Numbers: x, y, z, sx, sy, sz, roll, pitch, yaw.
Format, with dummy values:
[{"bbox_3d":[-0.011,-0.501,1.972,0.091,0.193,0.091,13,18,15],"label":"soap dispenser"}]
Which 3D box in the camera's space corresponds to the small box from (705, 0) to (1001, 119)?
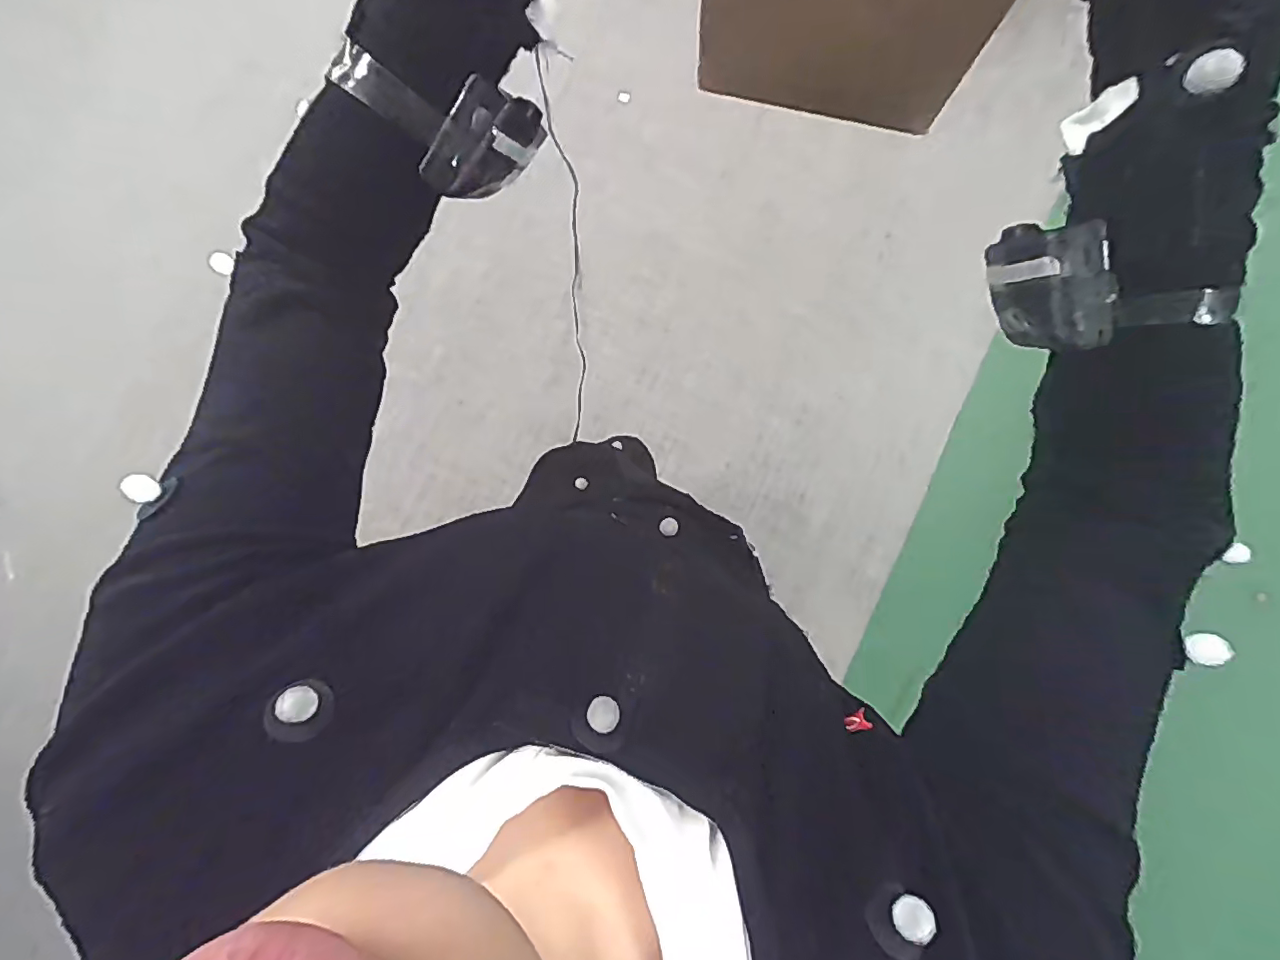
[{"bbox_3d":[0.143,-0.359,0.324,0.179,0.176,0.168,15,89,4],"label":"small box"}]
